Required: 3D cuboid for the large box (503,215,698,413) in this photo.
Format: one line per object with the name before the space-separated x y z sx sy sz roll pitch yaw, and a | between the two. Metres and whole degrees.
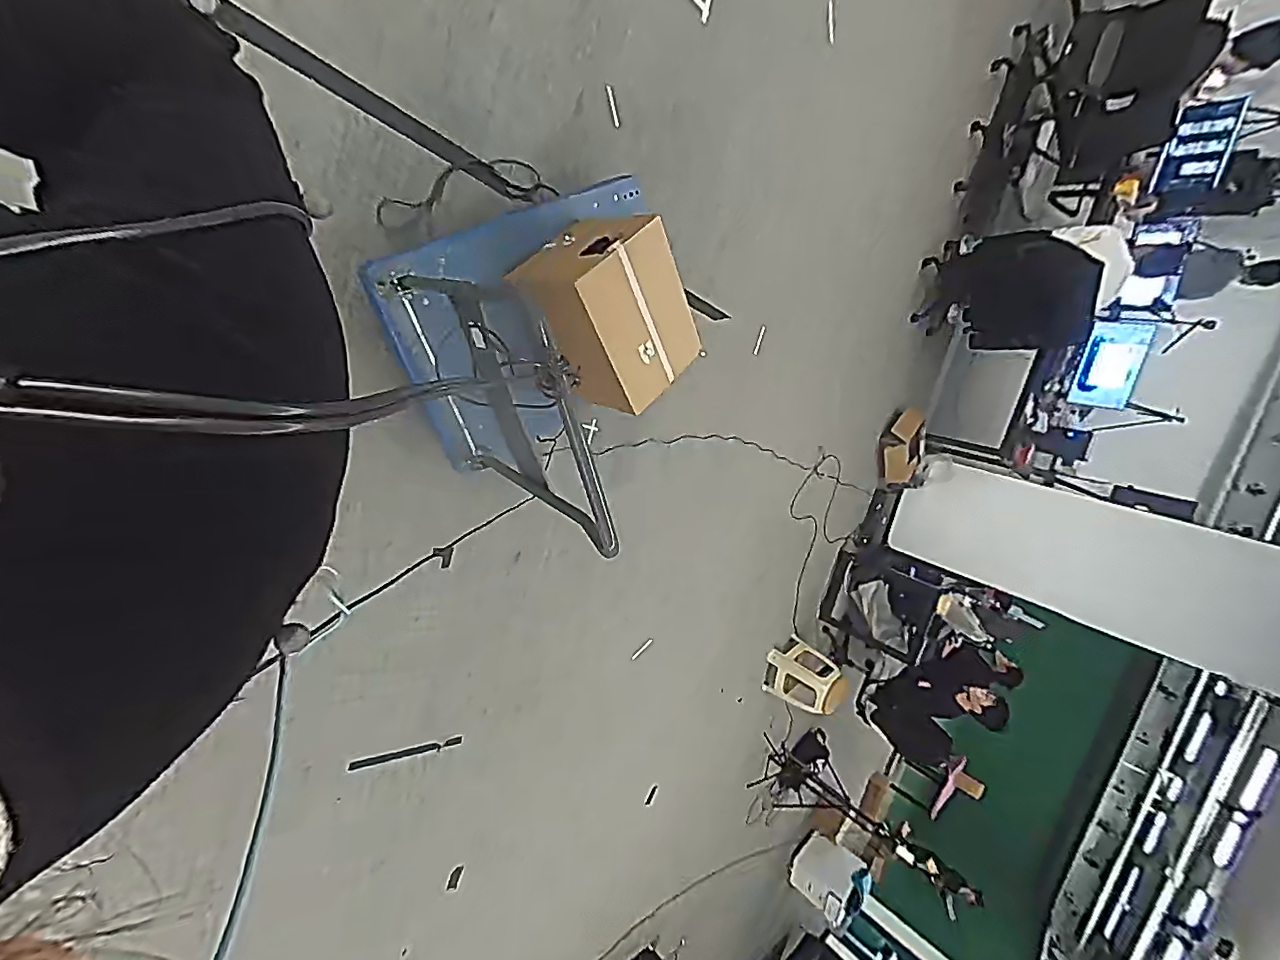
large box | -0.097 -0.456 1.488 0.320 0.320 0.408 -47 135 -21
